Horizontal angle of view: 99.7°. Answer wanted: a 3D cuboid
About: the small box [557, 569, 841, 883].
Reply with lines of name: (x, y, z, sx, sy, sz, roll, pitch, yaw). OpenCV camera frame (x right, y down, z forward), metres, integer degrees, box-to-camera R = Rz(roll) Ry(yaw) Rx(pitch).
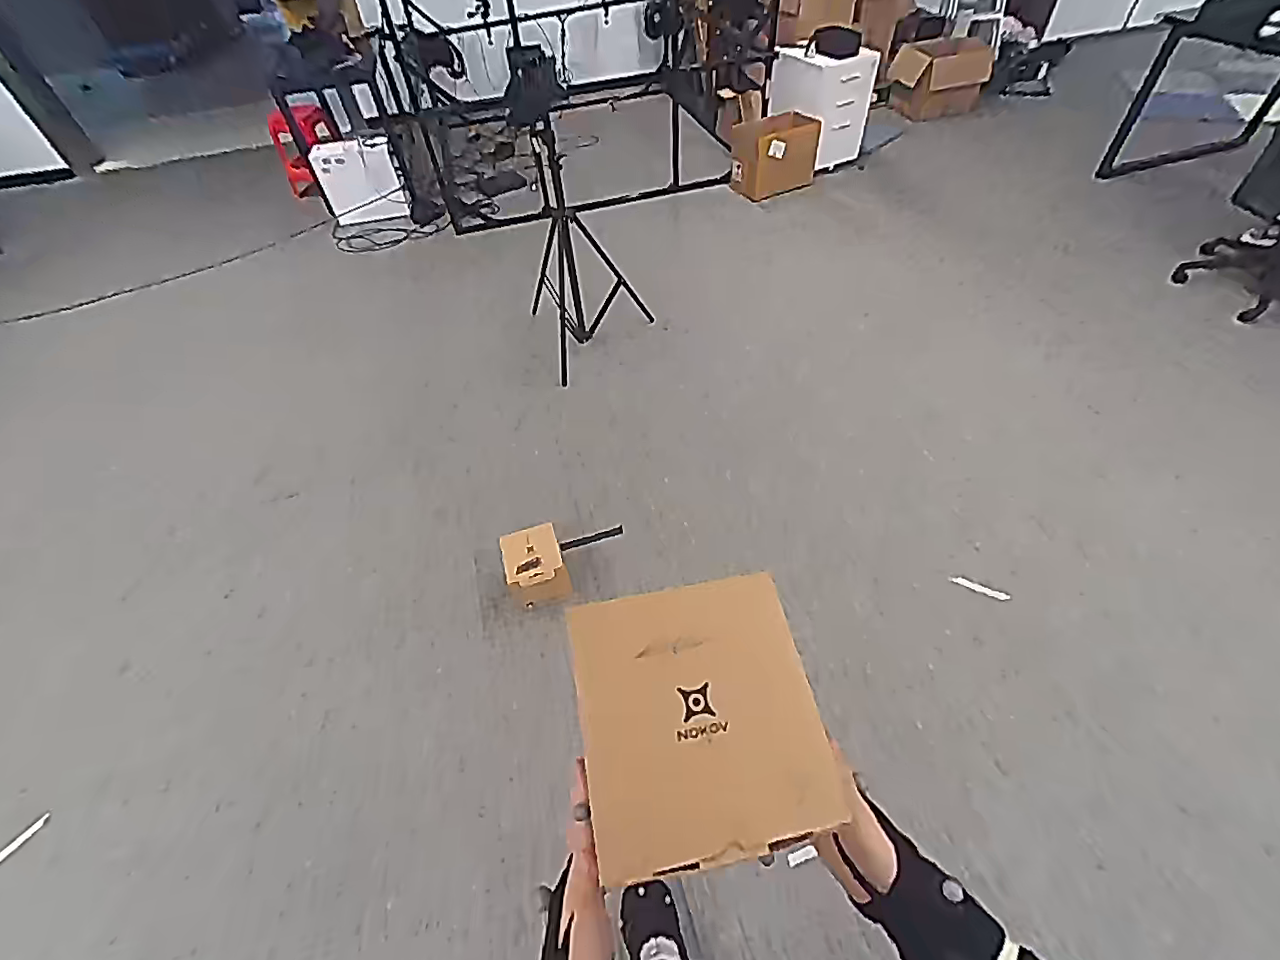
small box: (0.030, 0.197, 0.443, 0.168, 0.176, 0.179, -9, 58, -9)

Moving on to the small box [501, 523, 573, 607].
small box: (-0.312, 0.267, 1.650, 0.168, 0.176, 0.179, -16, 50, -9)
